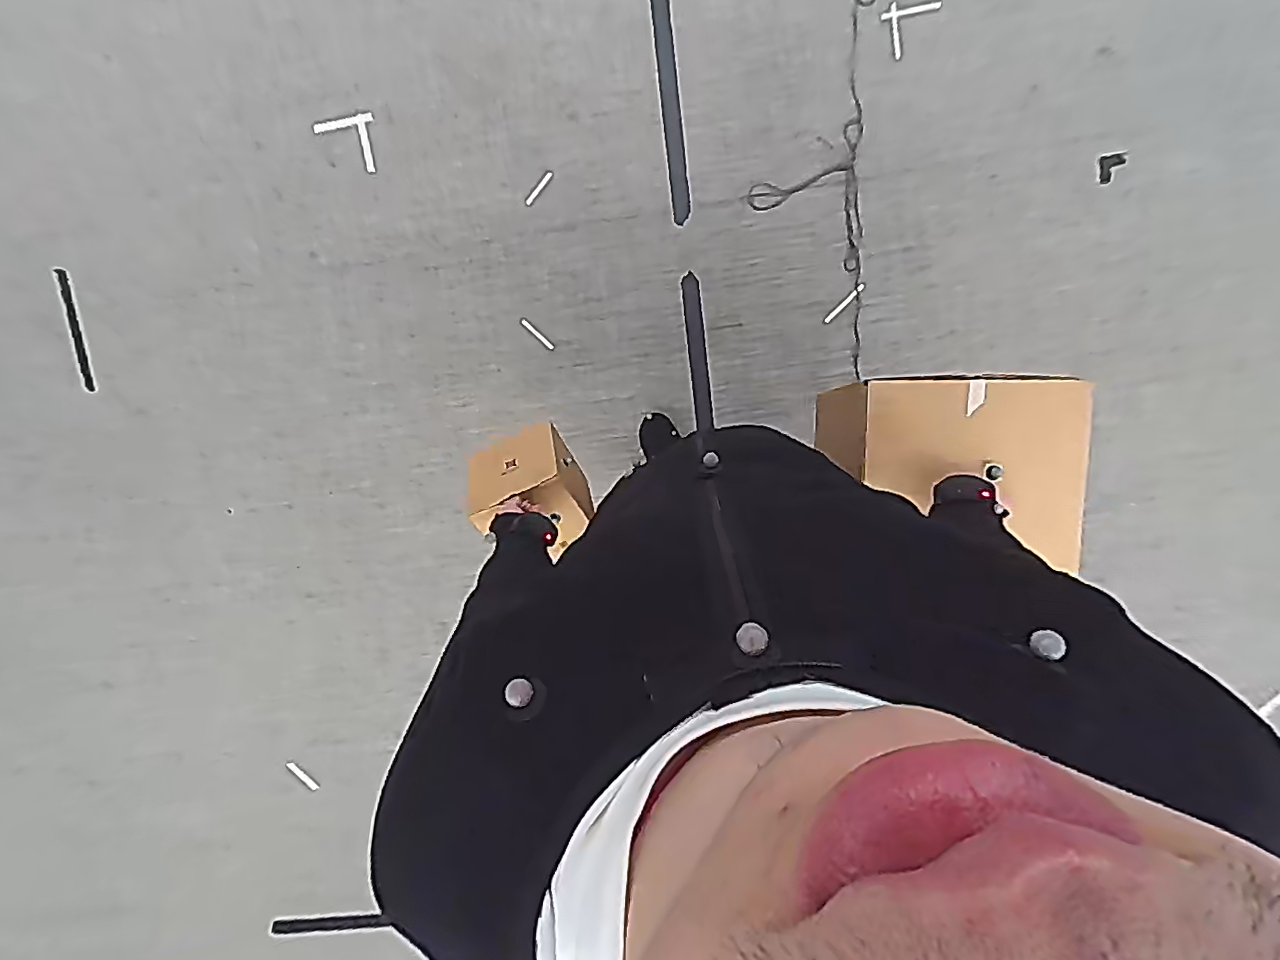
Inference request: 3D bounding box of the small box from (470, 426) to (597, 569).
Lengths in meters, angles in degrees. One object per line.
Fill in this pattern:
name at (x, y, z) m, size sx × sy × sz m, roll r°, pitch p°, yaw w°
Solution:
small box at (-0.190, 0.038, 0.985) m, size 0.168 × 0.179 × 0.176 m, roll -24°, pitch 128°, yaw 4°
